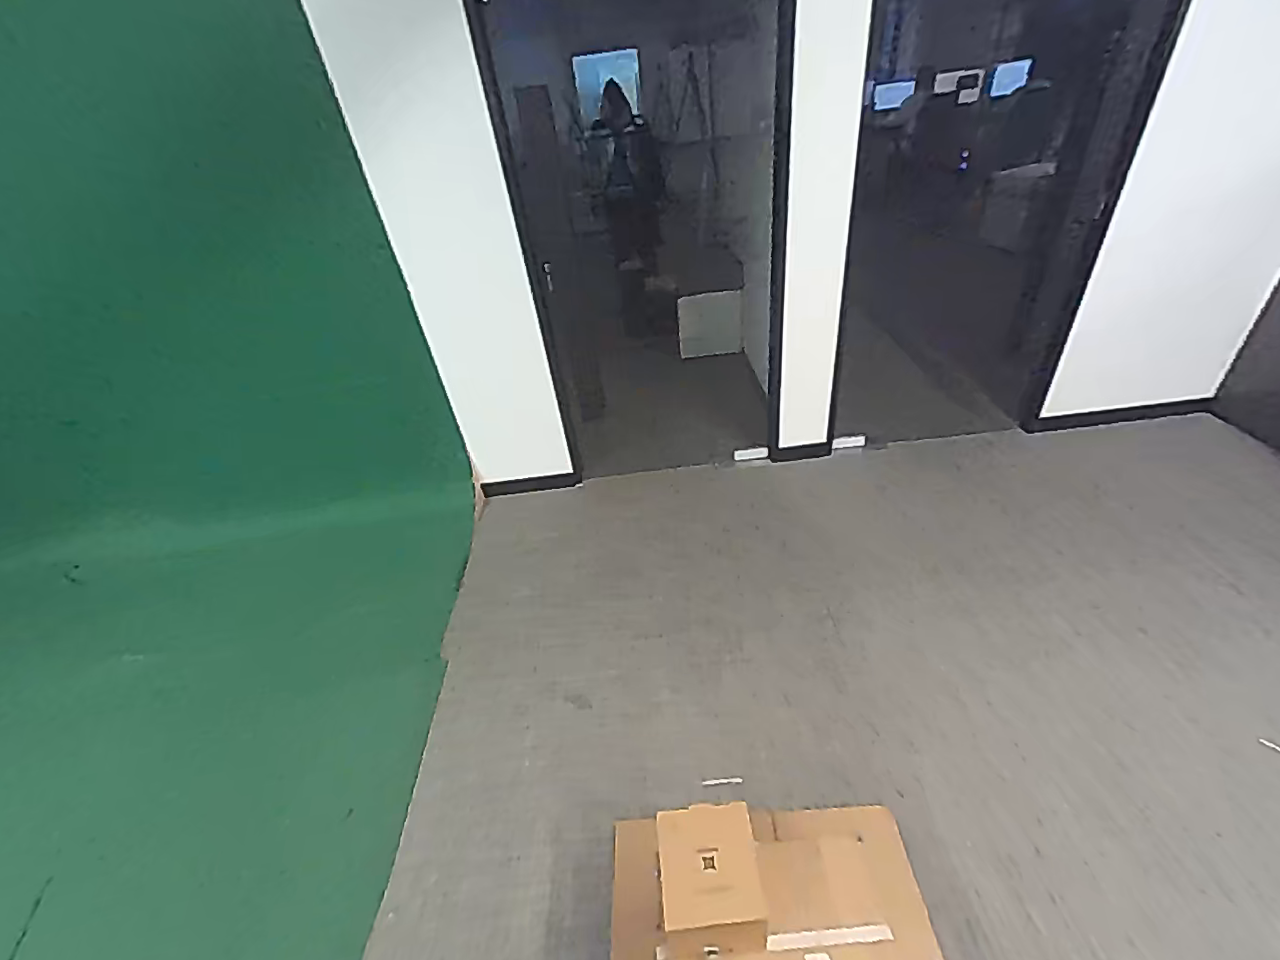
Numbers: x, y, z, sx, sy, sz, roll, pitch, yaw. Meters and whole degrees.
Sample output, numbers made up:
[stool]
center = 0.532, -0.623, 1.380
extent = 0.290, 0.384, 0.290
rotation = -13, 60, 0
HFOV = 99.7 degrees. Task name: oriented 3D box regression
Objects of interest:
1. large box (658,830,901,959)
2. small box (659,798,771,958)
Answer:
[large box]
center = 0.252, 0.921, 1.032
extent = 0.408, 0.320, 0.320
rotation = -6, 37, 1
[small box]
center = 0.126, 0.696, 0.949
extent = 0.168, 0.176, 0.179
rotation = -8, 36, 1
